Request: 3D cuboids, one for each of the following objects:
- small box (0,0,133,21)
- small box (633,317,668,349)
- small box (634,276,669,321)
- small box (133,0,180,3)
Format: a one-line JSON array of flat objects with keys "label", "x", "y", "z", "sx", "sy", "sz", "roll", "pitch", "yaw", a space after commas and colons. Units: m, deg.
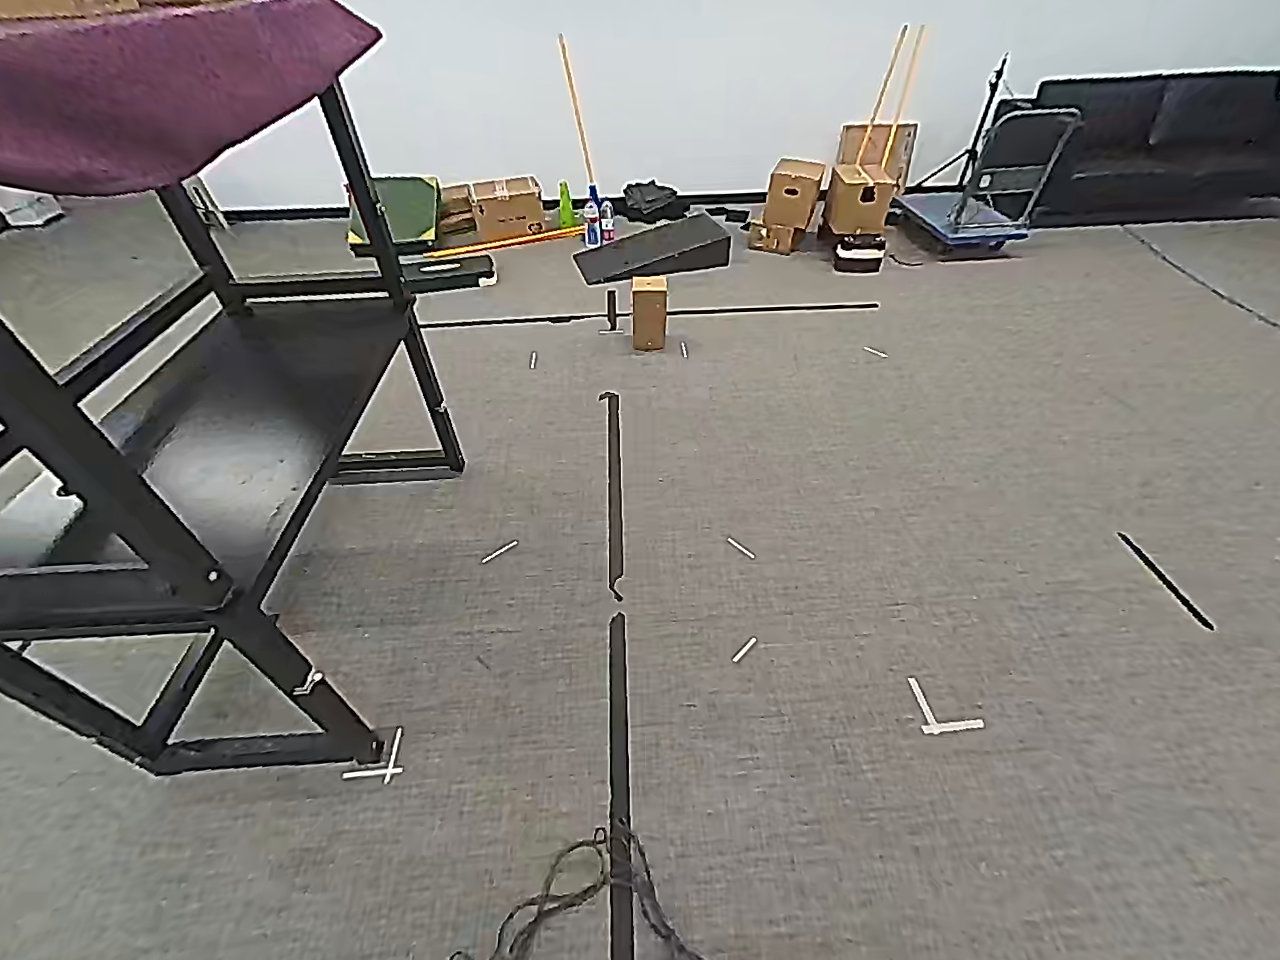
[{"label": "small box", "x": -0.929, "y": -0.804, "z": 0.803, "sx": 0.179, "sy": 0.176, "sz": 0.168, "roll": -7, "pitch": 44, "yaw": -4}, {"label": "small box", "x": 0.054, "y": -0.813, "z": 2.893, "sx": 0.179, "sy": 0.176, "sz": 0.168, "roll": -1, "pitch": 44, "yaw": -2}, {"label": "small box", "x": 0.059, "y": -0.929, "z": 2.778, "sx": 0.179, "sy": 0.176, "sz": 0.168, "roll": 0, "pitch": 44, "yaw": 2}, {"label": "small box", "x": -0.927, "y": -1.036, "z": 1.040, "sx": 0.179, "sy": 0.176, "sz": 0.168, "roll": 0, "pitch": 45, "yaw": 2}]
